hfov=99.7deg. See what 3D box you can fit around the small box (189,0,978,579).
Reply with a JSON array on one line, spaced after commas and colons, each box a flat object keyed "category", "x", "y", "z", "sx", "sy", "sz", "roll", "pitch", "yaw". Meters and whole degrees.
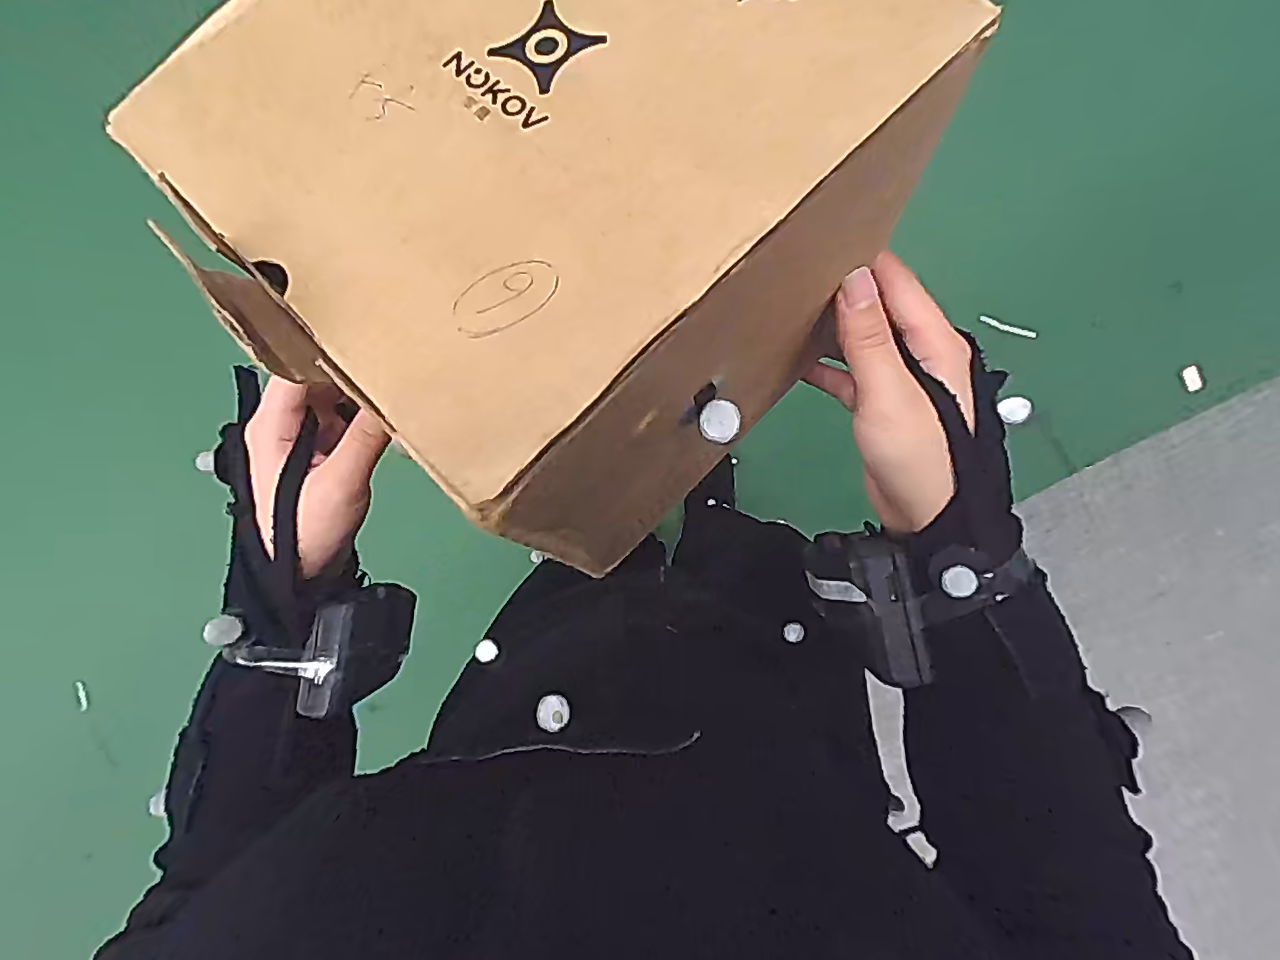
[{"category": "small box", "x": -0.015, "y": -0.075, "z": 0.232, "sx": 0.179, "sy": 0.176, "sz": 0.168, "roll": -45, "pitch": 76, "yaw": -6}]
